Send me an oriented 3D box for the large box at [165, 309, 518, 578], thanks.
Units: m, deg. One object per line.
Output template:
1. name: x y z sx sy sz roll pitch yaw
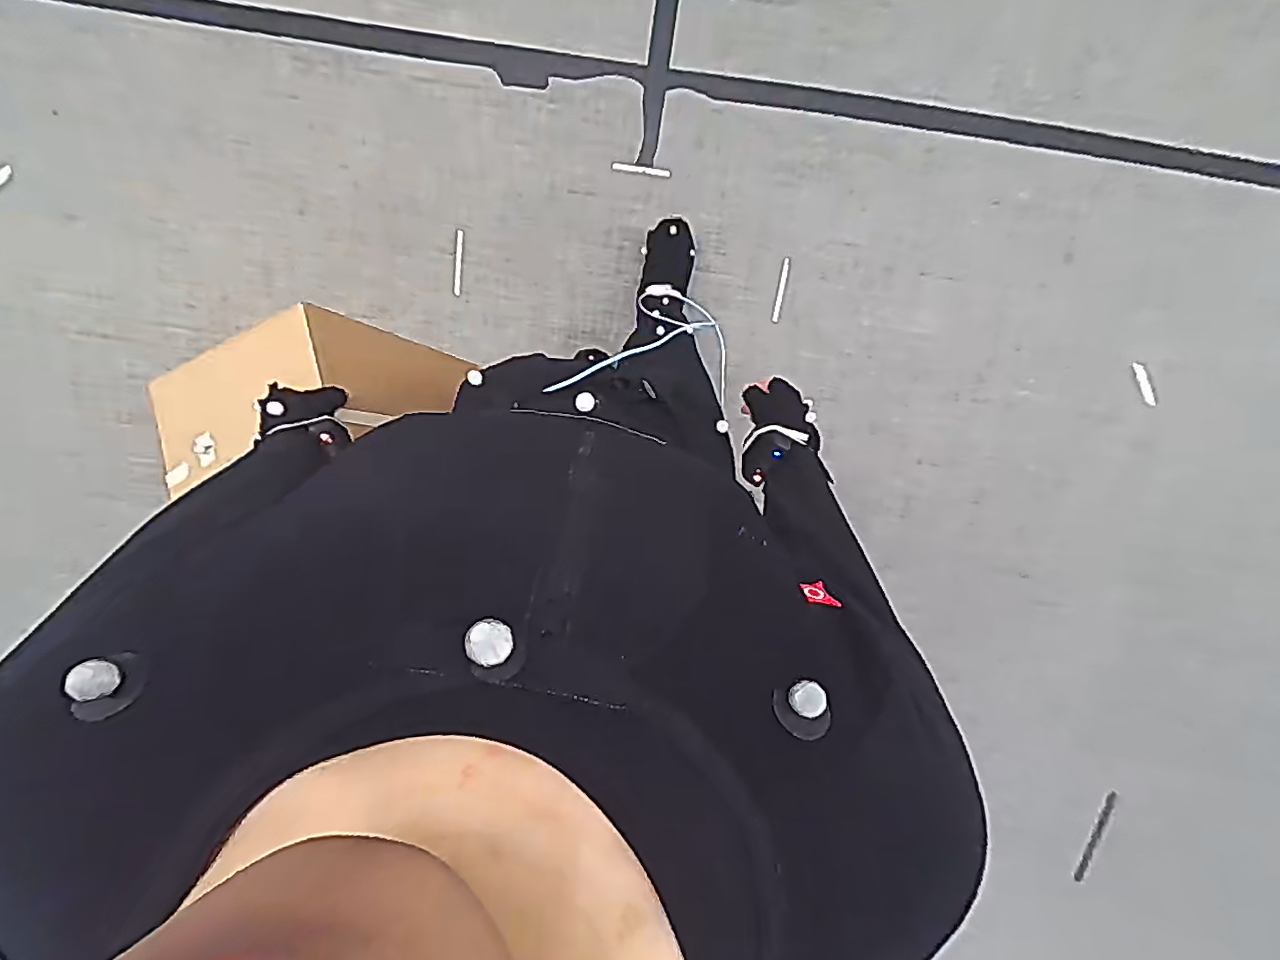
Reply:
1. large box: -0.481 -0.044 0.941 0.320 0.408 0.320 -17 84 17
